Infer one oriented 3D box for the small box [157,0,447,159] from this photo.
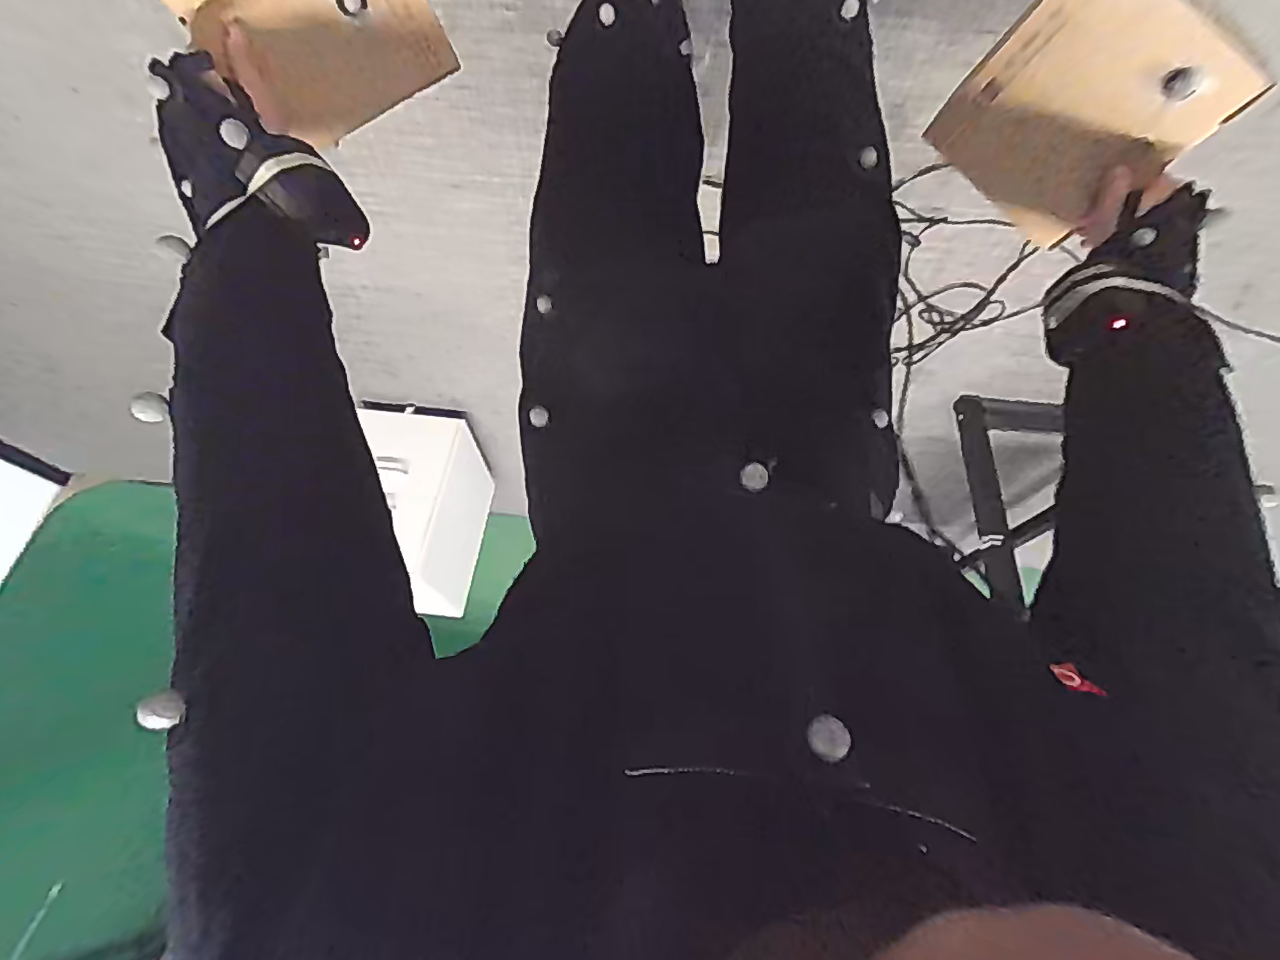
[{"bbox_3d":[-0.285,-0.411,0.440,0.176,0.179,0.168,-32,145,-1],"label":"small box"}]
